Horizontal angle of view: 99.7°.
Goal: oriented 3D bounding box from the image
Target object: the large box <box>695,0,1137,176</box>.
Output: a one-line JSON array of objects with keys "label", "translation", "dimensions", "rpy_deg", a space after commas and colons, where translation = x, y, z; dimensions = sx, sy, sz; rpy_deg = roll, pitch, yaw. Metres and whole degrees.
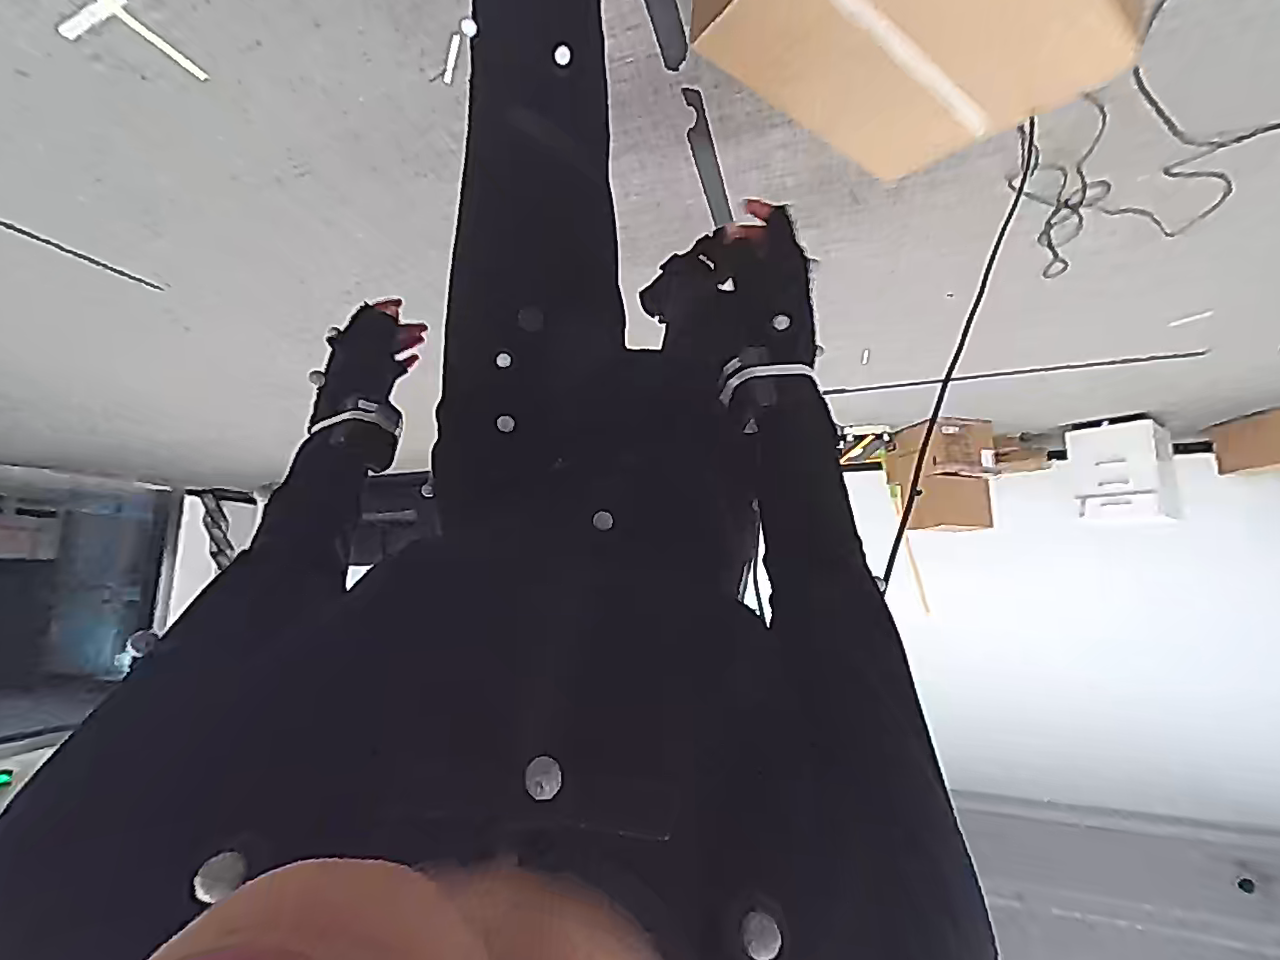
[{"label": "large box", "translation": [0.320, -0.647, 0.625], "dimensions": [0.408, 0.320, 0.320], "rpy_deg": [10, 175, -33]}]
